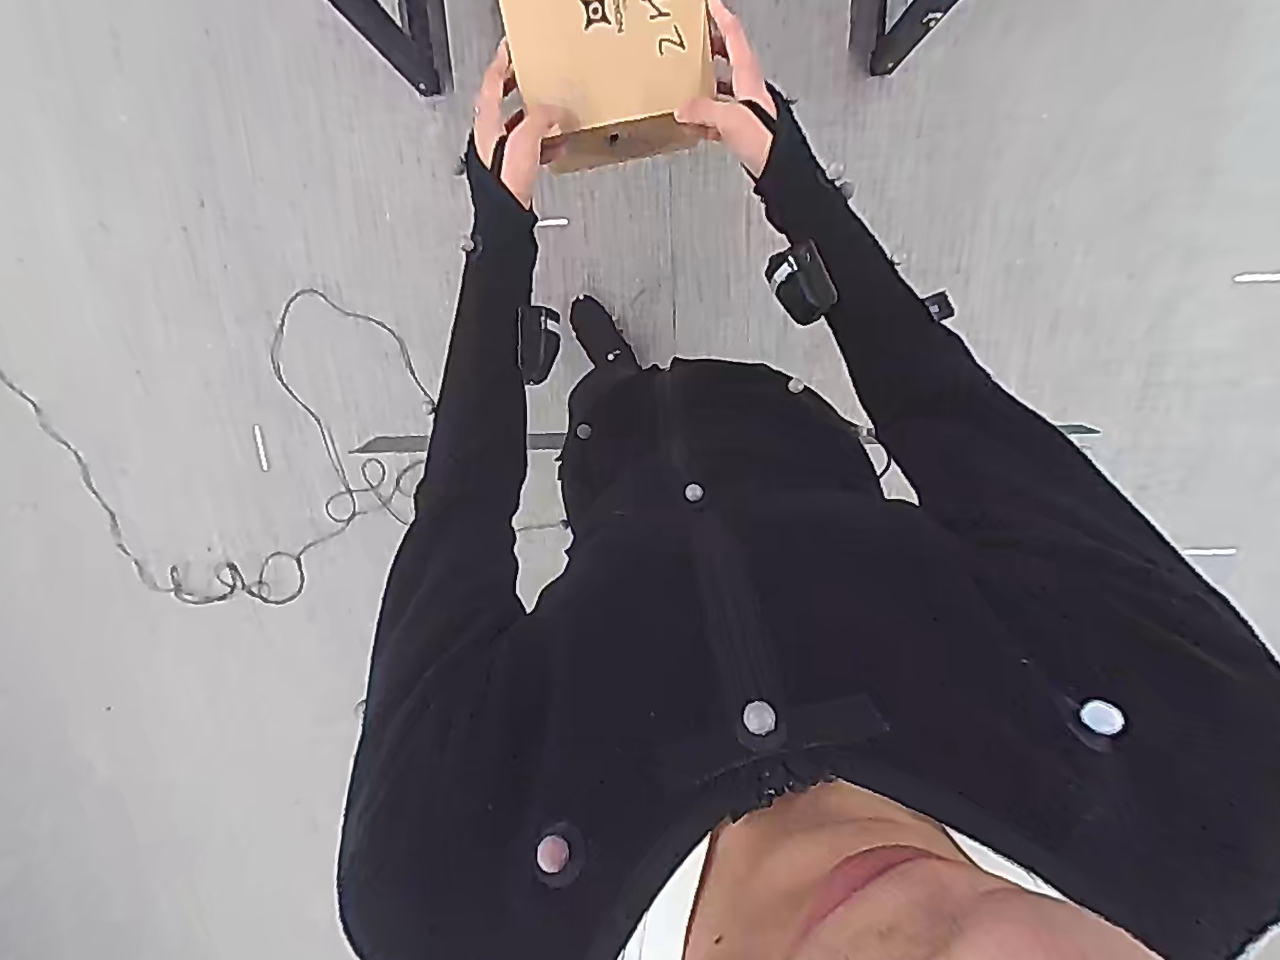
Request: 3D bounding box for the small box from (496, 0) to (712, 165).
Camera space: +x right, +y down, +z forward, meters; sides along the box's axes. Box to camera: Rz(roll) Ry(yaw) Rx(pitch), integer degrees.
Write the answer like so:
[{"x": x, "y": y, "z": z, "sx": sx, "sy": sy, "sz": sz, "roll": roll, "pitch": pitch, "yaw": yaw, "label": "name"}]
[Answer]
[{"x": -0.035, "y": -0.425, "z": 0.528, "sx": 0.179, "sy": 0.176, "sz": 0.168, "roll": -9, "pitch": 111, "yaw": 1, "label": "small box"}]
